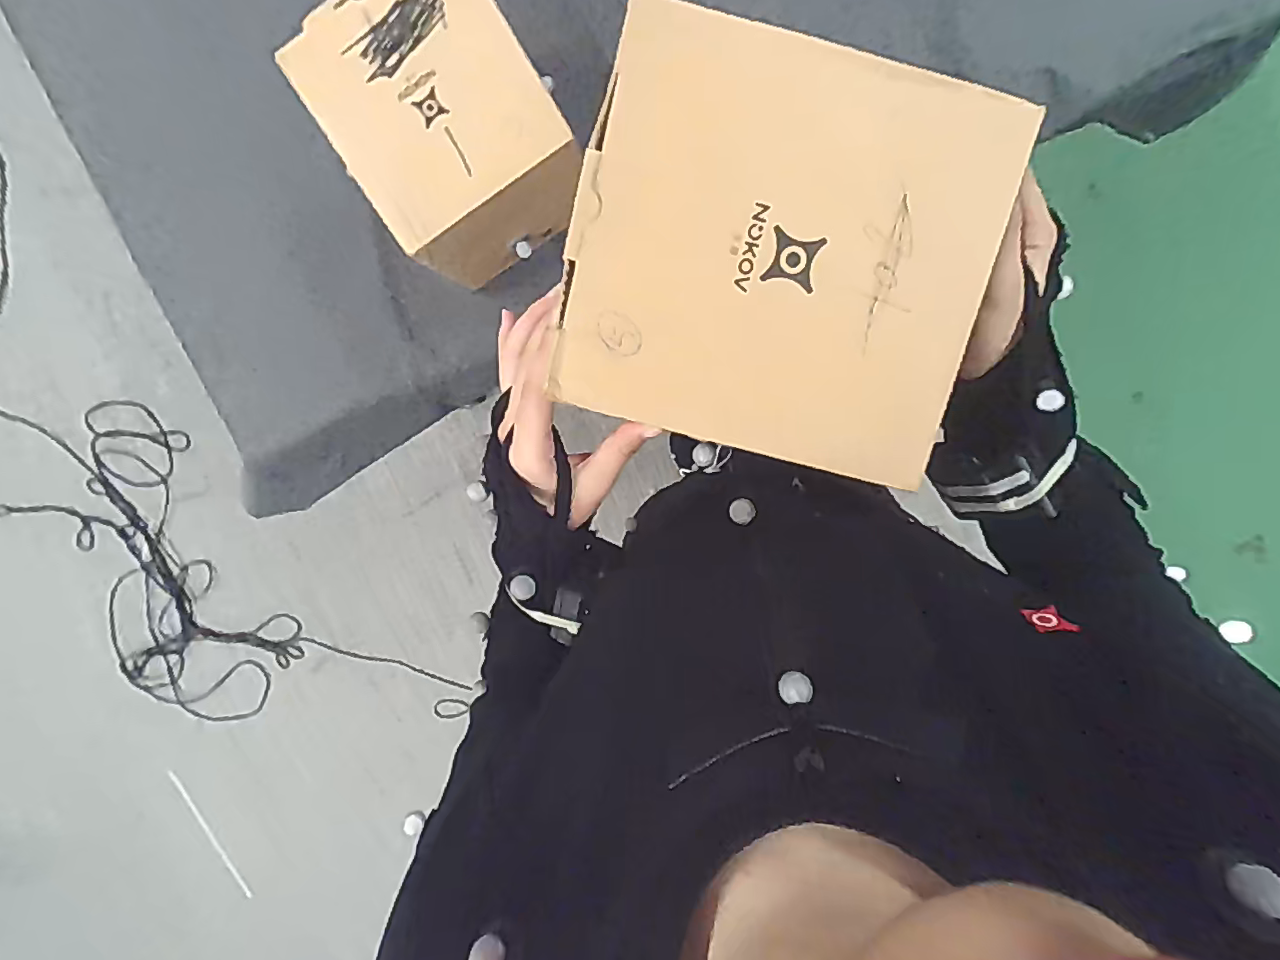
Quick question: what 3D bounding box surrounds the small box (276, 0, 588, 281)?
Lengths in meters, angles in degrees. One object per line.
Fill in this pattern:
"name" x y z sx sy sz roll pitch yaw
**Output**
"small box" -0.165 -0.310 0.493 0.168 0.176 0.179 -32 99 7
